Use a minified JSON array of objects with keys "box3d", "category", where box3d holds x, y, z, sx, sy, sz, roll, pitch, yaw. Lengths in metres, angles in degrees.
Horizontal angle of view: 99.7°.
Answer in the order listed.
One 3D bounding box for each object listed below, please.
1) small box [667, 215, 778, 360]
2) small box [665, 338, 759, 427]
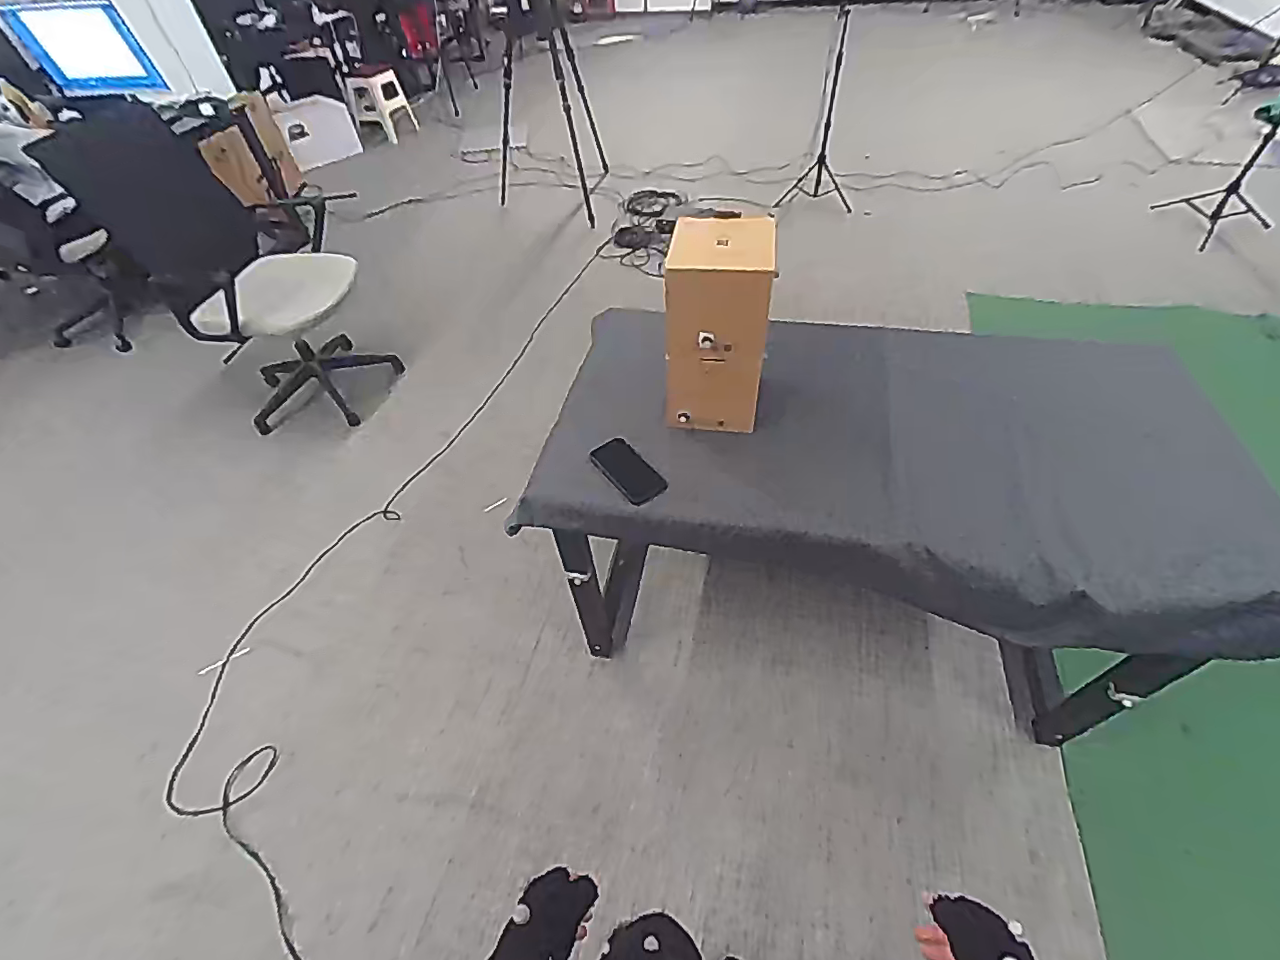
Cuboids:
[{"box3d":[0.138,-0.325,0.916,0.168,0.176,0.179,5,51,9],"category":"small box"},{"box3d":[0.144,-0.220,1.039,0.168,0.176,0.179,6,49,9],"category":"small box"}]
